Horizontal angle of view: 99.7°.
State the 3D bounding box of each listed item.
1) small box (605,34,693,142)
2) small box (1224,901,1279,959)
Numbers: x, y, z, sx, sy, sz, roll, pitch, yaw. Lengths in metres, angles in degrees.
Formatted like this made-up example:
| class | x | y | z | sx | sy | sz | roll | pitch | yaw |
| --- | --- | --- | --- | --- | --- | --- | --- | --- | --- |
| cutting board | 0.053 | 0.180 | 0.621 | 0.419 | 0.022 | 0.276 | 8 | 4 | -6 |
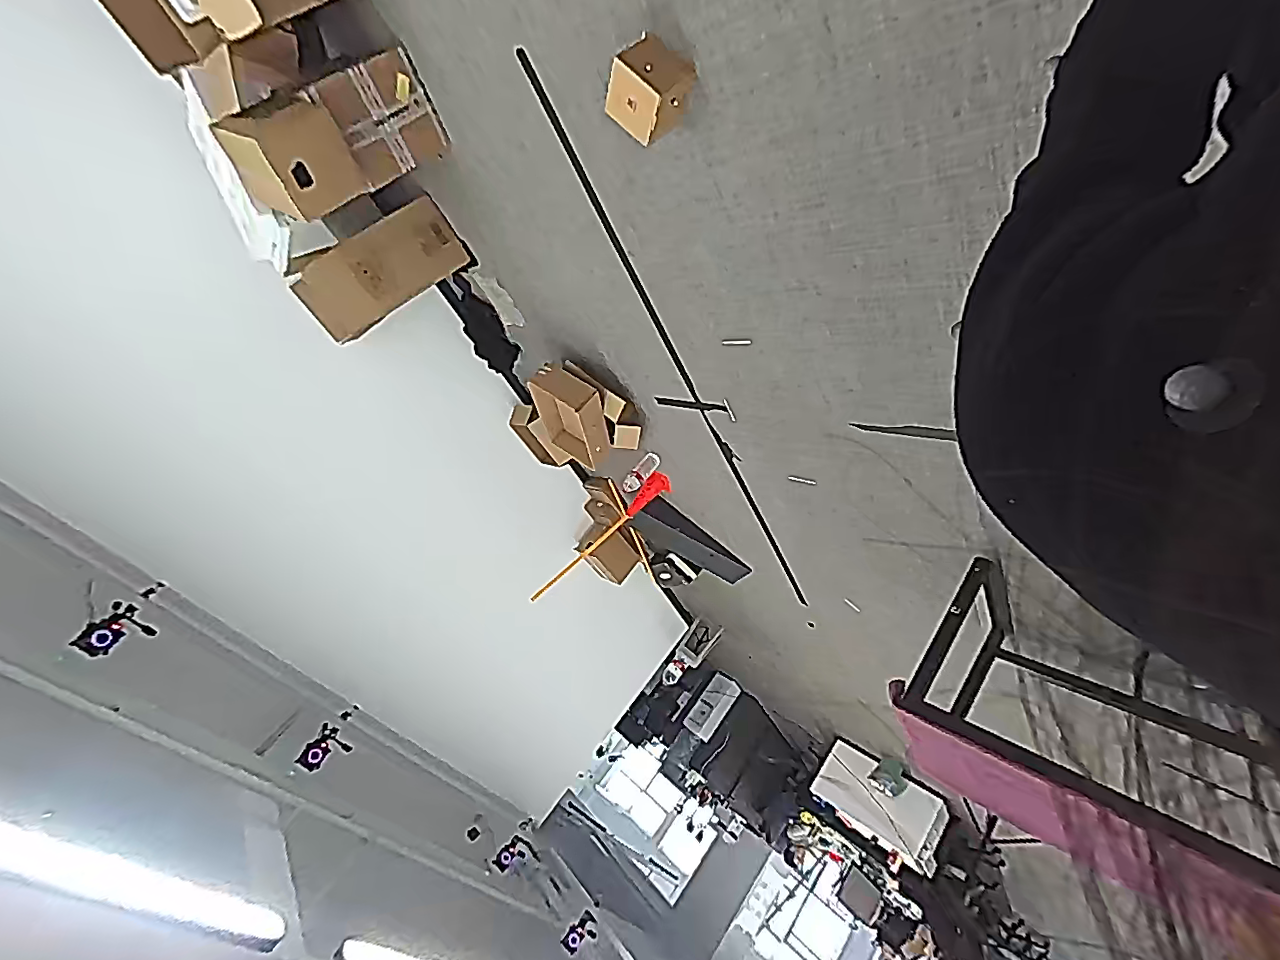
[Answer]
| class | x | y | z | sx | sy | sz | roll | pitch | yaw |
| --- | --- | --- | --- | --- | --- | --- | --- | --- | --- |
| small box | 0.026 | -1.143 | 1.573 | 0.179 | 0.176 | 0.168 | 43 | 158 | 2 |
| small box | 1.557 | 1.163 | 1.303 | 0.179 | 0.176 | 0.168 | 14 | 147 | 51 |
